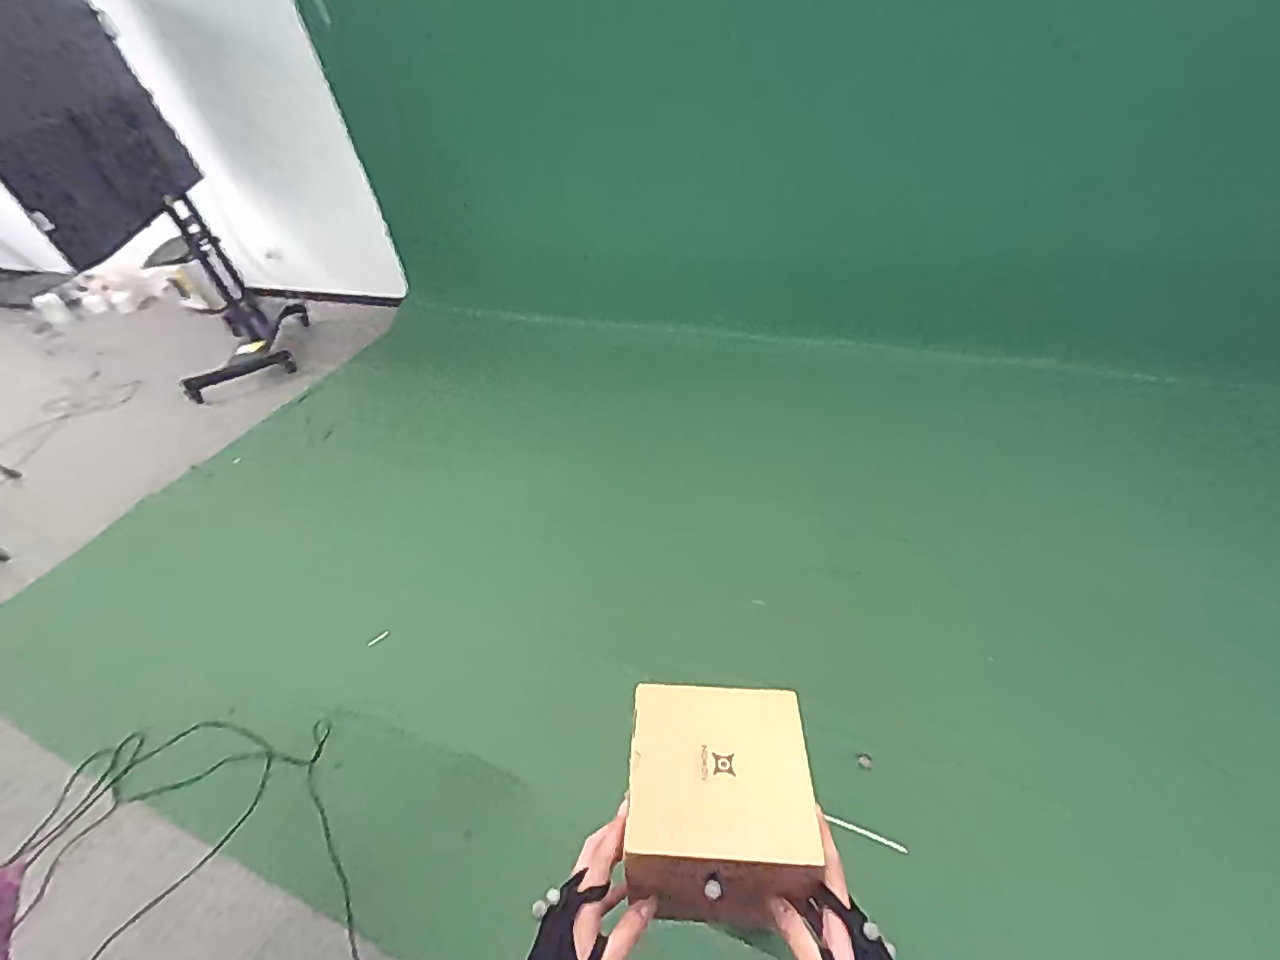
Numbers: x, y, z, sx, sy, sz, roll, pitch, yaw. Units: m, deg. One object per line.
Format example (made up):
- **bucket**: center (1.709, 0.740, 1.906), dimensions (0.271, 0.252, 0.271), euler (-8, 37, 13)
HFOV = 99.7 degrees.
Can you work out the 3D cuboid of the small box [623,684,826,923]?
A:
- **small box**: center (0.080, 0.340, 0.573), dimensions (0.179, 0.176, 0.168), euler (0, 36, 5)
